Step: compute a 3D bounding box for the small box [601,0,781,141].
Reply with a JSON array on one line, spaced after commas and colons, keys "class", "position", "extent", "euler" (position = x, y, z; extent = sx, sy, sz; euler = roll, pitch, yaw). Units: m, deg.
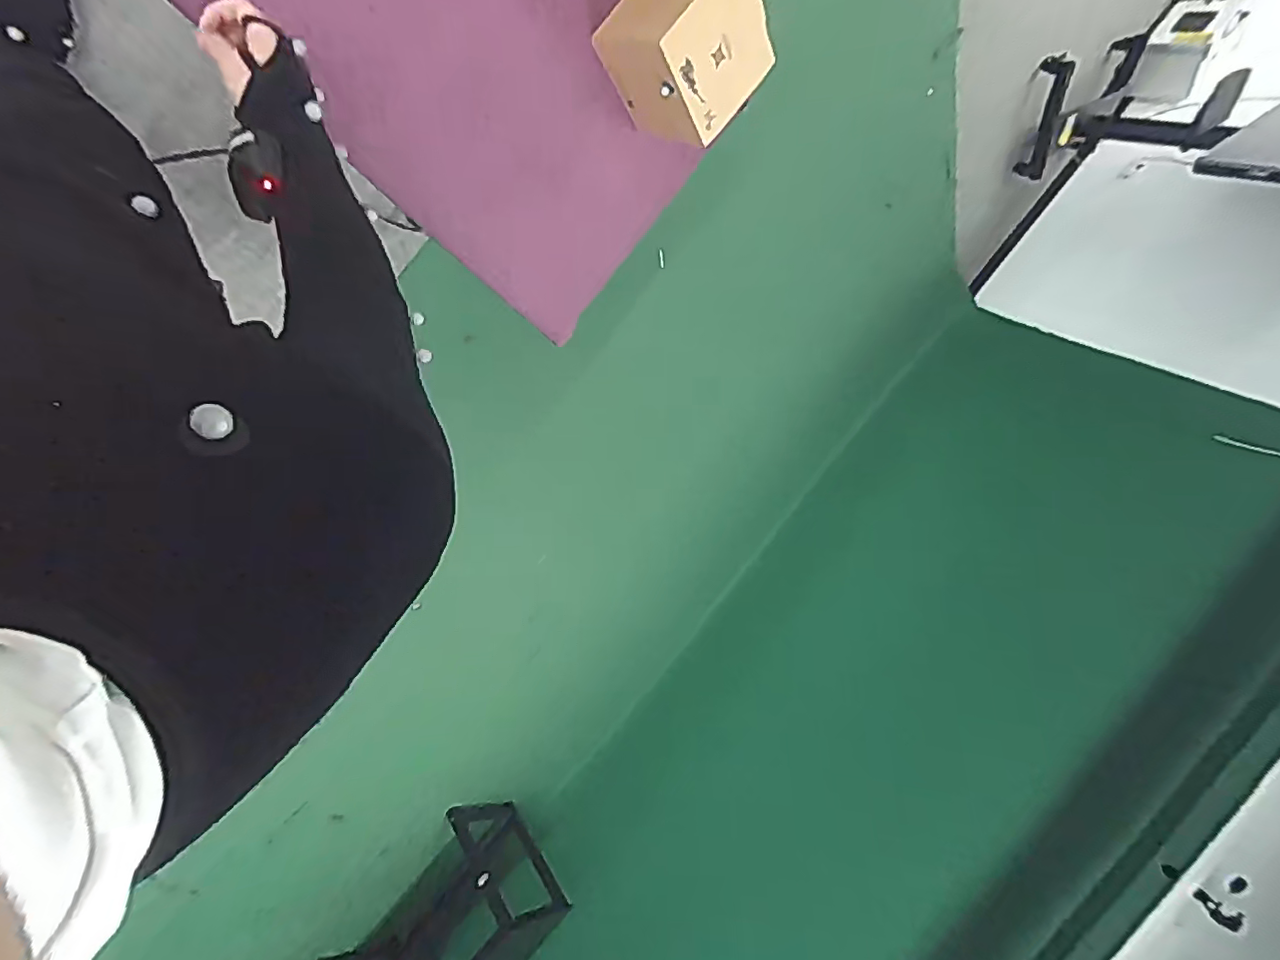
[{"class": "small box", "position": [0.075, -0.654, 0.808], "extent": [0.179, 0.176, 0.168], "euler": [-50, 142, 1]}]
